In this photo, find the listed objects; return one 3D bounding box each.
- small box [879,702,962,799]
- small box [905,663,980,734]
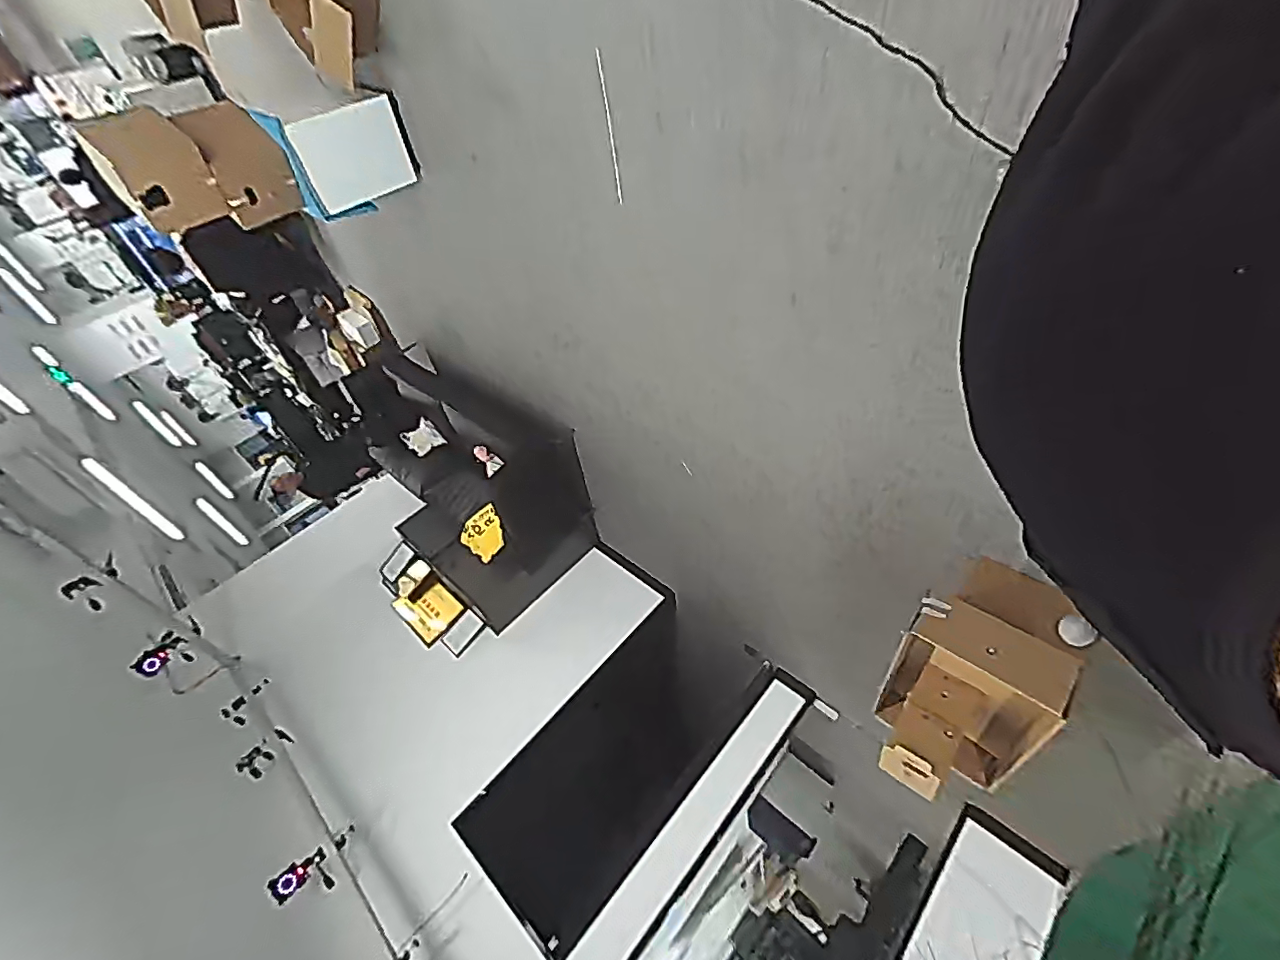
[{"bbox_3d":[0.858,0.819,1.651,0.168,0.176,0.179,26,144,37],"label":"small box"},{"bbox_3d":[0.964,0.729,1.739,0.168,0.176,0.179,28,143,37],"label":"small box"}]
